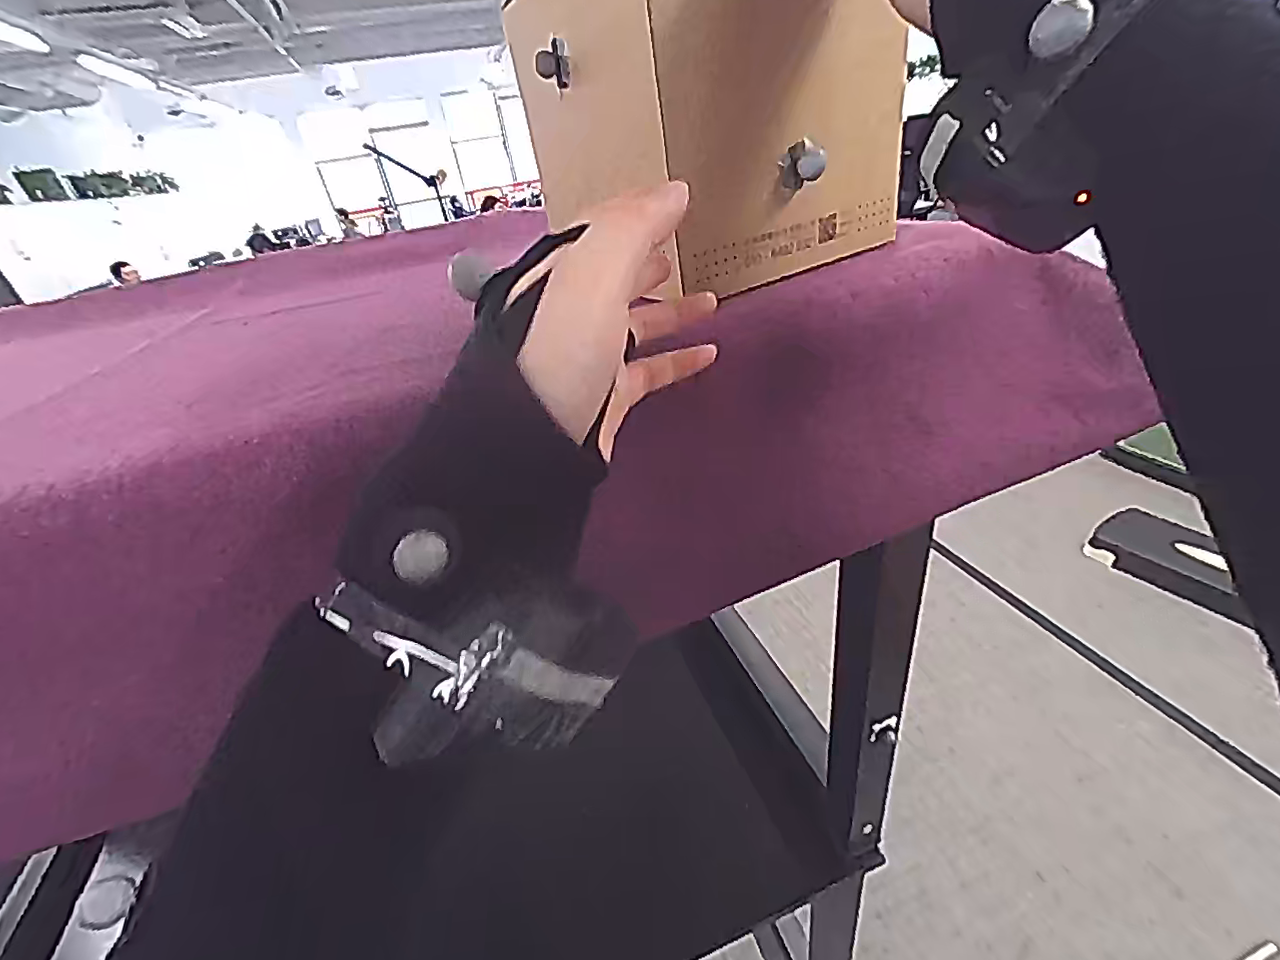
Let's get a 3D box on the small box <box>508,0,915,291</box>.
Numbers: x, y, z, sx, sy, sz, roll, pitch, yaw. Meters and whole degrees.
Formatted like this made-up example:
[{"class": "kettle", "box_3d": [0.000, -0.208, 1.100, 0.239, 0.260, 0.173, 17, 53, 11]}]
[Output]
[{"class": "small box", "box_3d": [0.039, -0.225, 0.339, 0.168, 0.176, 0.179, -25, 33, -22]}]
